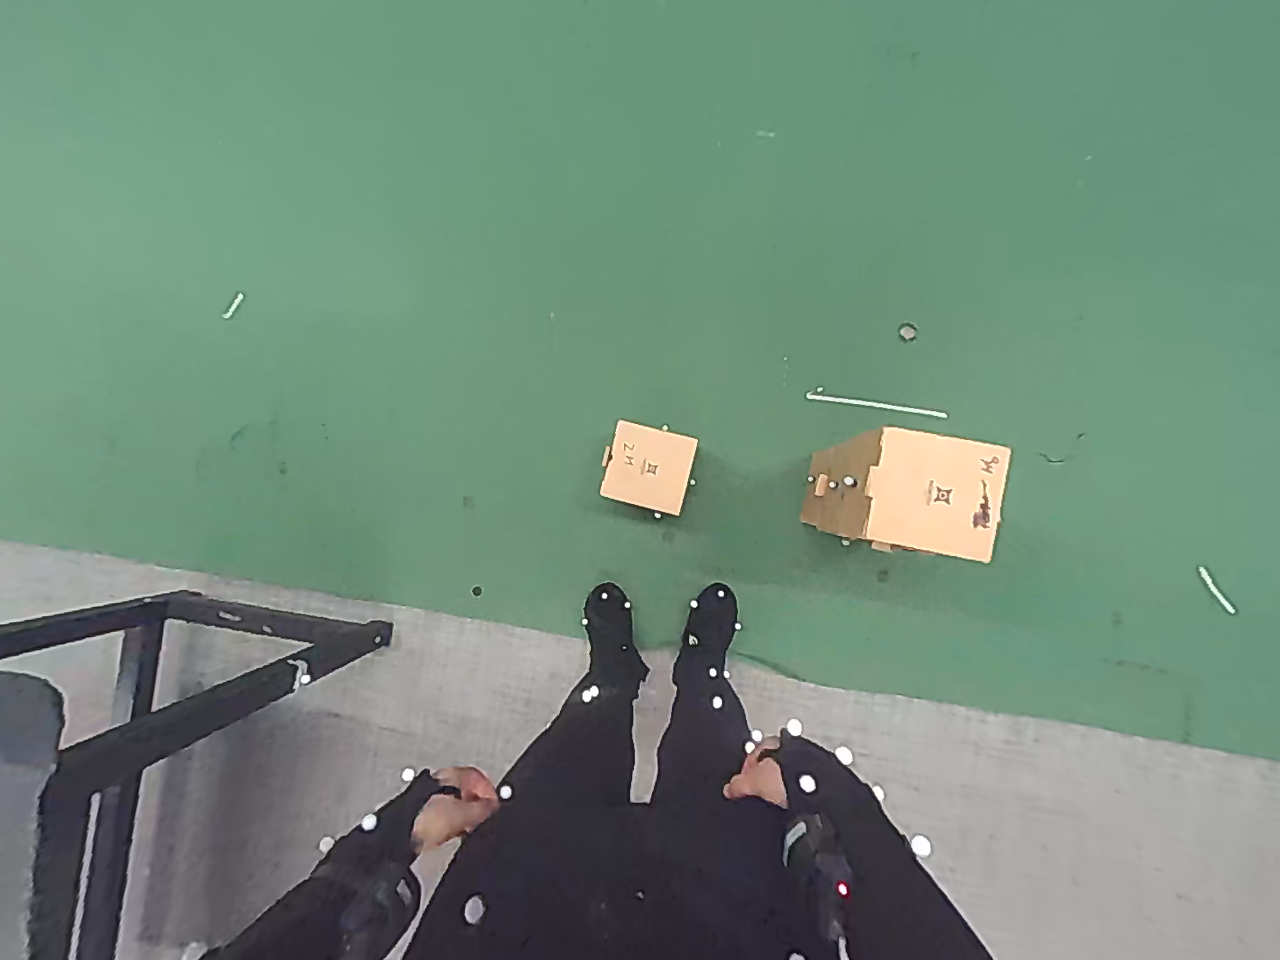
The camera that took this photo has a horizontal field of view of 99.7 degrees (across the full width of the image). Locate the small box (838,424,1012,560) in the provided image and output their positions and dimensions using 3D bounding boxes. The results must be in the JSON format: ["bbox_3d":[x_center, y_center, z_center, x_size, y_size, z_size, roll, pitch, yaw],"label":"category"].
[{"bbox_3d":[0.423,0.019,0.834,0.179,0.176,0.168,11,89,6],"label":"small box"}]

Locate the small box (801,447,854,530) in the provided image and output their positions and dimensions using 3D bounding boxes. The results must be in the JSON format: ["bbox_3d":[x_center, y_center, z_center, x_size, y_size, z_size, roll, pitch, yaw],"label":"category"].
[{"bbox_3d":[0.463,0.029,1.160,0.179,0.176,0.168,13,91,5],"label":"small box"}]

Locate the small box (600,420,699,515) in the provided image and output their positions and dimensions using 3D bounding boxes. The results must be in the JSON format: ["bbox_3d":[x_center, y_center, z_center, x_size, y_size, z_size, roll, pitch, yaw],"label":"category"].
[{"bbox_3d":[0.026,-0.026,1.198,0.179,0.176,0.168,14,90,5],"label":"small box"}]
